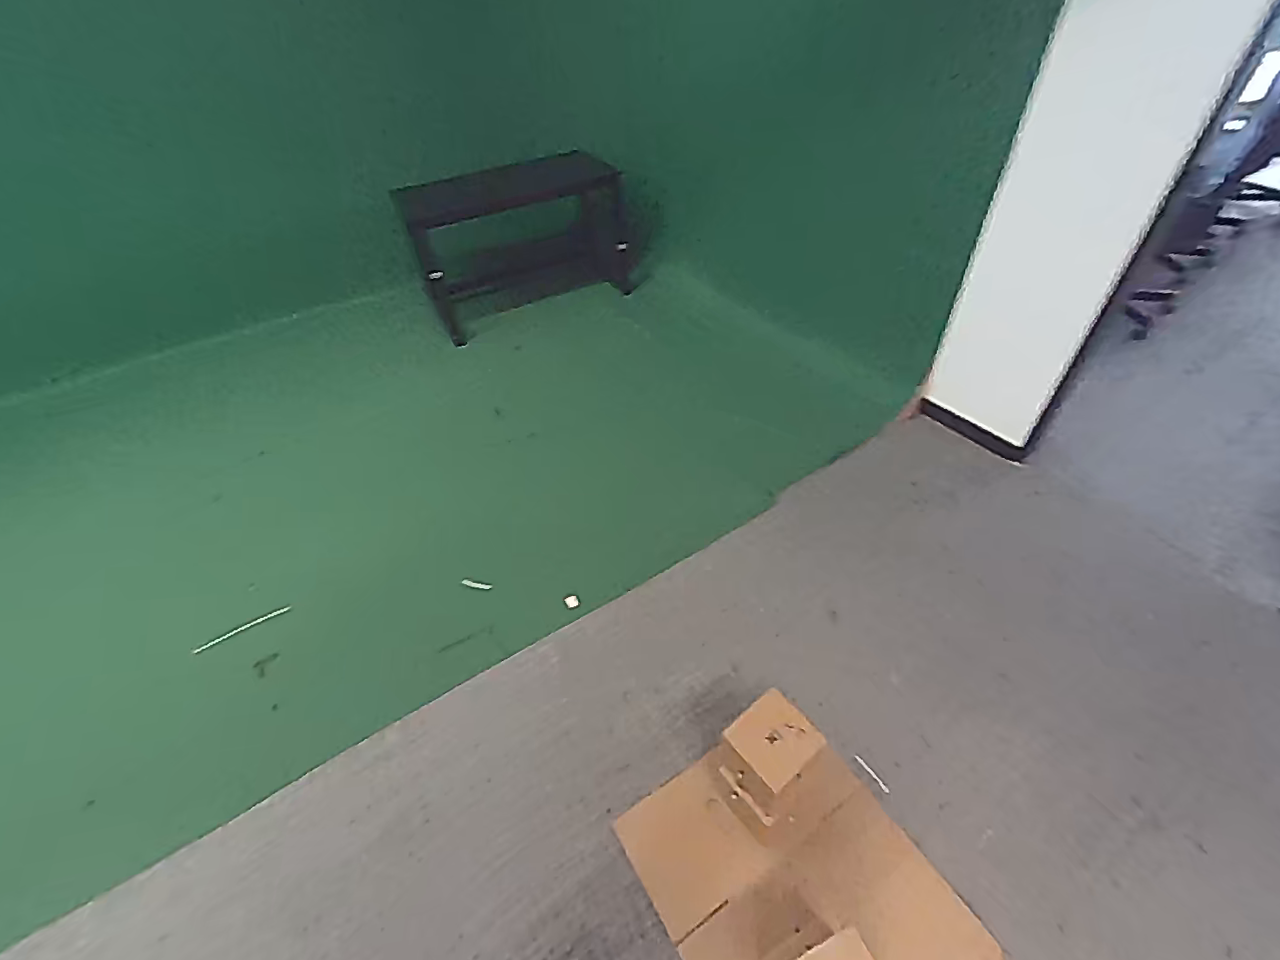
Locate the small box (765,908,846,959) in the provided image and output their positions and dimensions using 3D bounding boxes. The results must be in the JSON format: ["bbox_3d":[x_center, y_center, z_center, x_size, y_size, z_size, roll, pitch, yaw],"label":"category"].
[{"bbox_3d":[0.369,1.025,1.102,0.179,0.176,0.168,-22,46,-16],"label":"small box"}]

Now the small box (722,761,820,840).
[{"bbox_3d":[0.324,0.766,1.371,0.179,0.176,0.168,-31,51,-24],"label":"small box"}]

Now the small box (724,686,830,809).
[{"bbox_3d":[0.315,0.632,1.272,0.179,0.176,0.168,-30,51,-24],"label":"small box"}]

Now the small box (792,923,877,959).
[{"bbox_3d":[0.349,0.936,0.960,0.179,0.176,0.168,-18,46,-15],"label":"small box"}]
